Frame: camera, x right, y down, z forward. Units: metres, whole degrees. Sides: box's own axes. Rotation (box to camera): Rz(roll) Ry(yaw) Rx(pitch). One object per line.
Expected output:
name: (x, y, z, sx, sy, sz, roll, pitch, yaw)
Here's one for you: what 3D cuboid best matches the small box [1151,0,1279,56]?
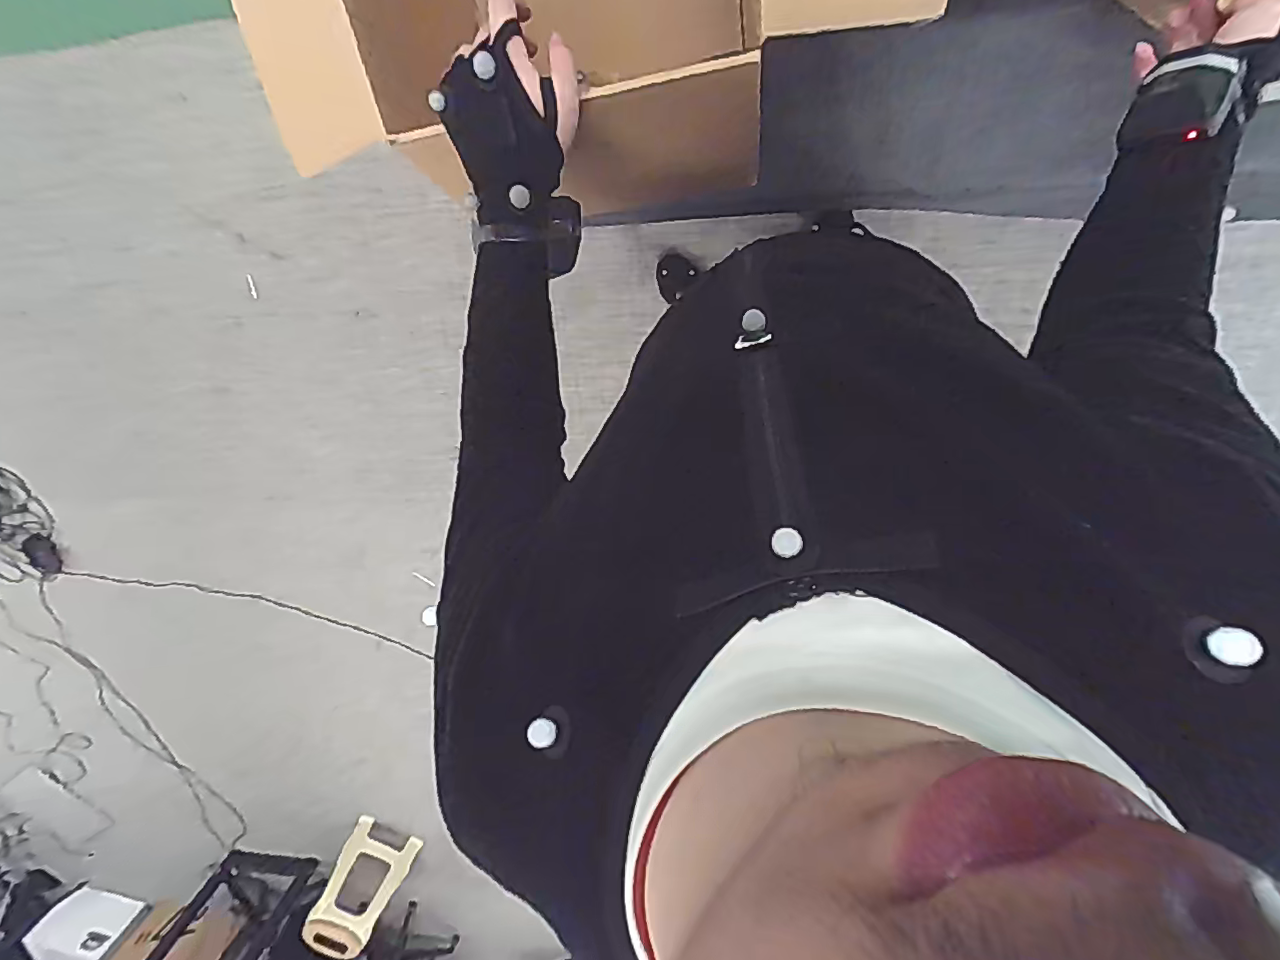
small box: (0.570, -0.505, 0.453, 0.168, 0.176, 0.179, 30, 119, -6)
